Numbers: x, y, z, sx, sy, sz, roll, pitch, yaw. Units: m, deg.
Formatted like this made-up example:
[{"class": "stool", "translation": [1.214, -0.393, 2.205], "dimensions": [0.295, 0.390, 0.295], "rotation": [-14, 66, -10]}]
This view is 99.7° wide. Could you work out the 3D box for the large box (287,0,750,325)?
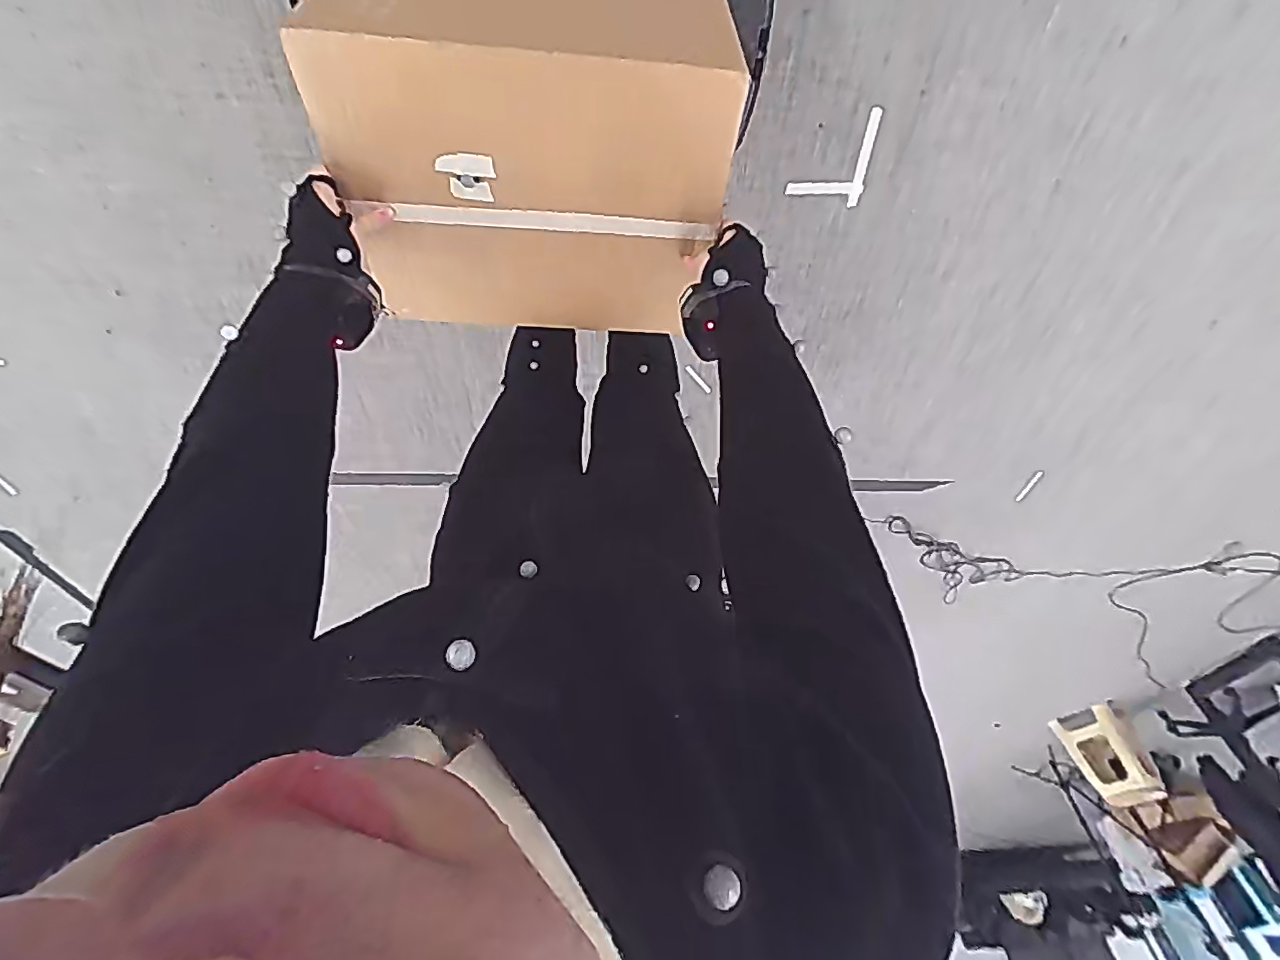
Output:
[{"class": "large box", "translation": [-0.109, -0.420, 0.663], "dimensions": [0.408, 0.320, 0.320], "rotation": [2, 147, -4]}]
